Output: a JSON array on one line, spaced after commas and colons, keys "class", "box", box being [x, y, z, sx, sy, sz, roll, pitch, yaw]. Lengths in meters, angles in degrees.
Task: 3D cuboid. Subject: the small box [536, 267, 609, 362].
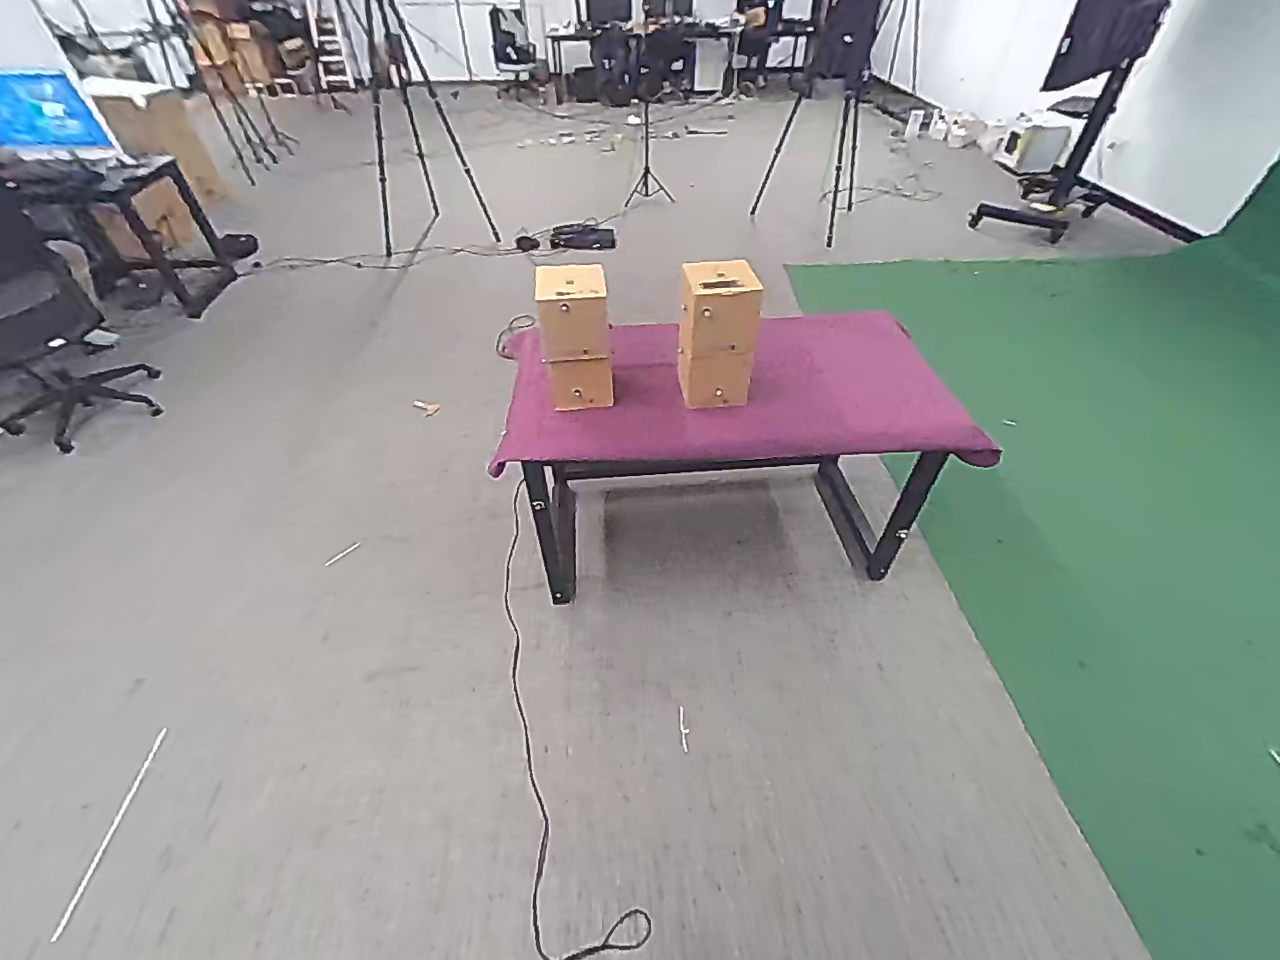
[{"class": "small box", "box": [-0.166, -0.415, 1.355, 0.168, 0.176, 0.179, -5, 45, -4]}]

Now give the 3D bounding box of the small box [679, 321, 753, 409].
[{"class": "small box", "box": [0.199, -0.312, 1.475, 0.168, 0.176, 0.179, -5, 45, -3]}]

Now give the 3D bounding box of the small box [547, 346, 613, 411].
[{"class": "small box", "box": [-0.165, -0.309, 1.481, 0.168, 0.176, 0.179, -6, 46, -6]}]
